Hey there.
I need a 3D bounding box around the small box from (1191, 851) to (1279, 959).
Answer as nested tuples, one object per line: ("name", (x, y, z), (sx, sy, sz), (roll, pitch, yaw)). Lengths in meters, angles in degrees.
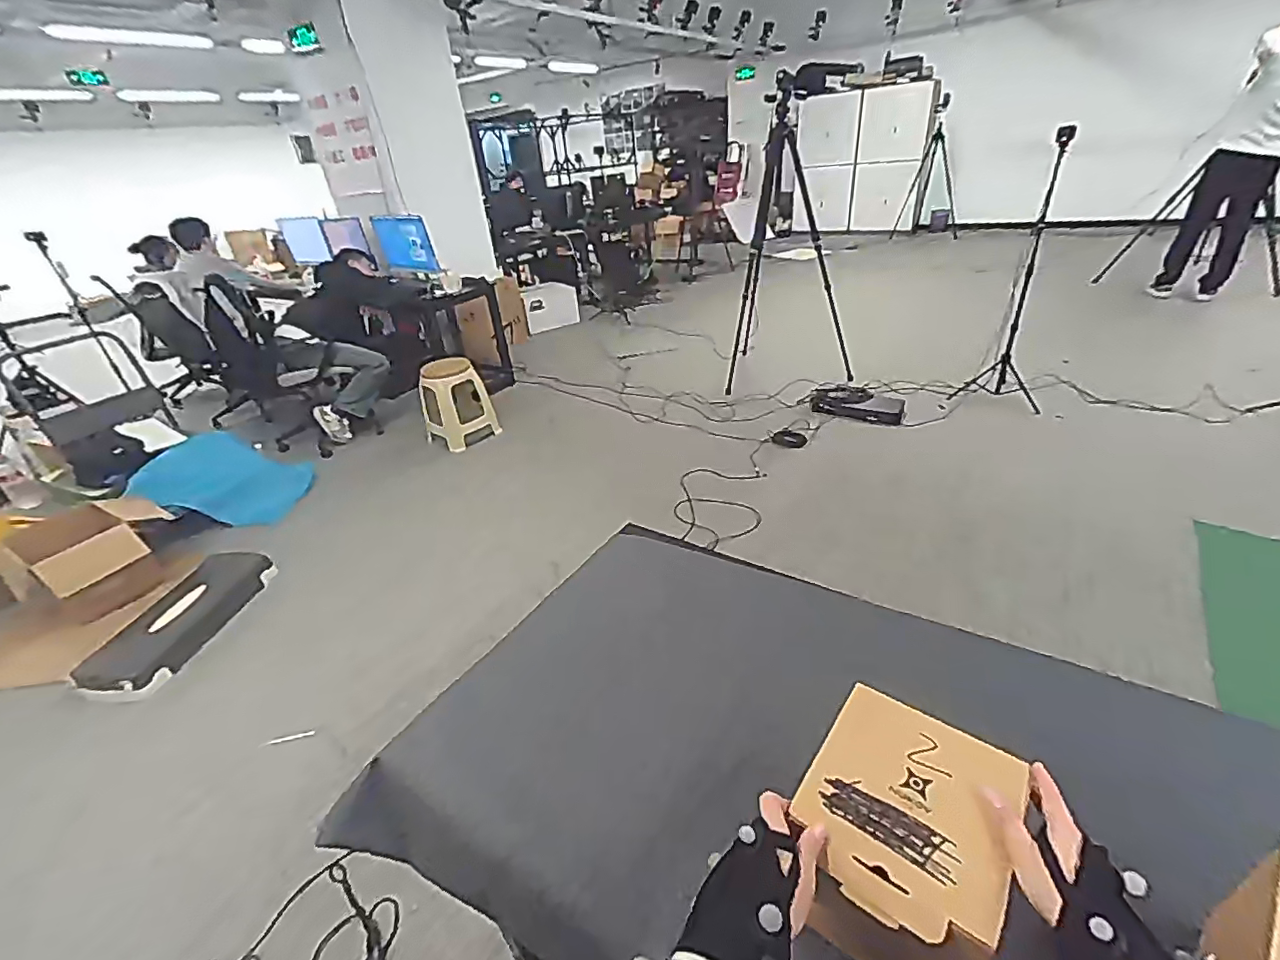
("small box", (0.525, 0.419, 0.375), (0.168, 0.176, 0.179), (-27, 35, -33))
